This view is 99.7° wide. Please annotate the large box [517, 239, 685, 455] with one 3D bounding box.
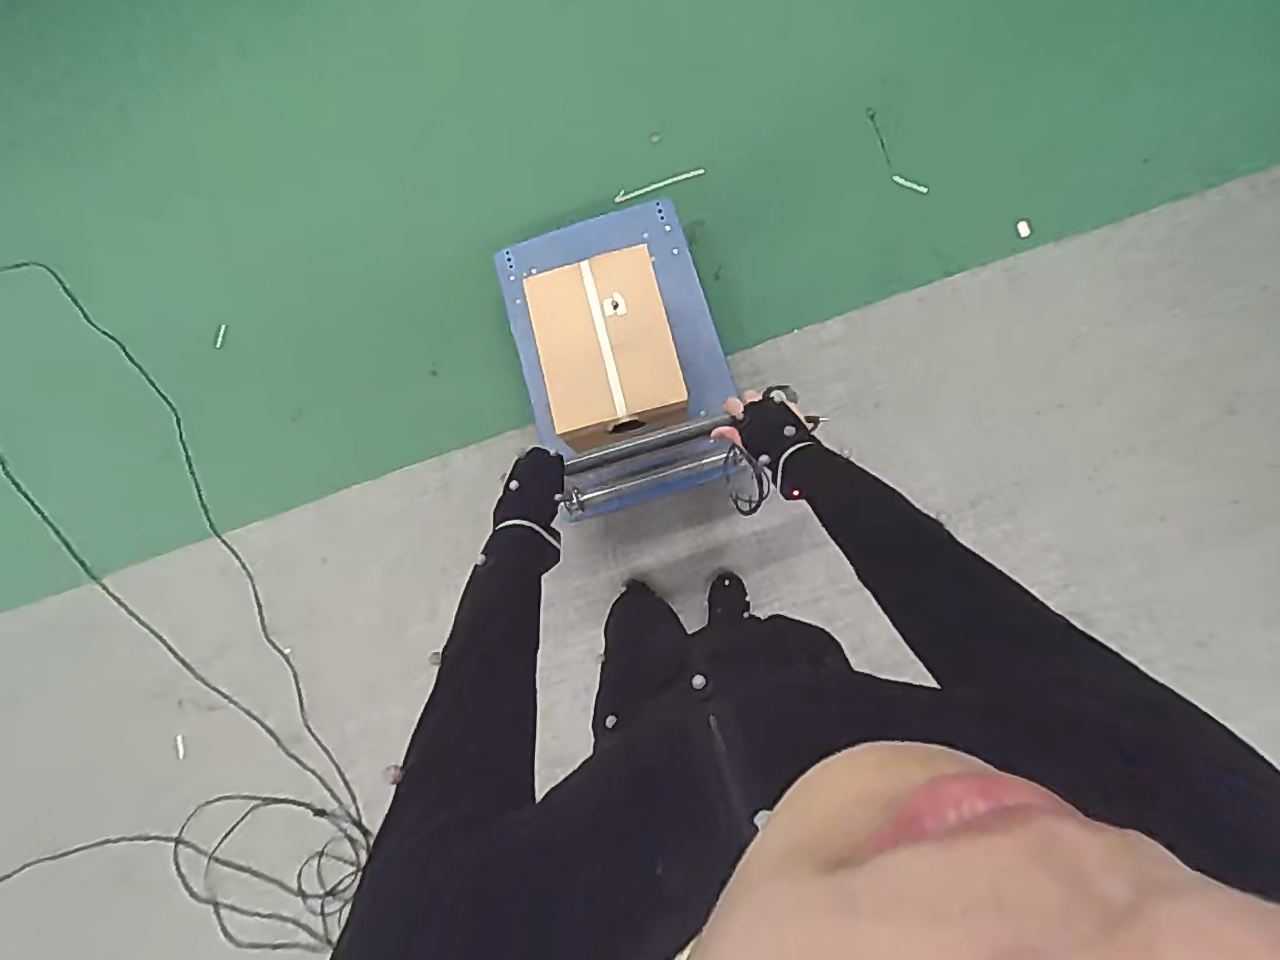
[{"bbox_3d":[-0.083,-0.317,1.387,0.320,0.320,0.408,-14,80,2],"label":"large box"}]
